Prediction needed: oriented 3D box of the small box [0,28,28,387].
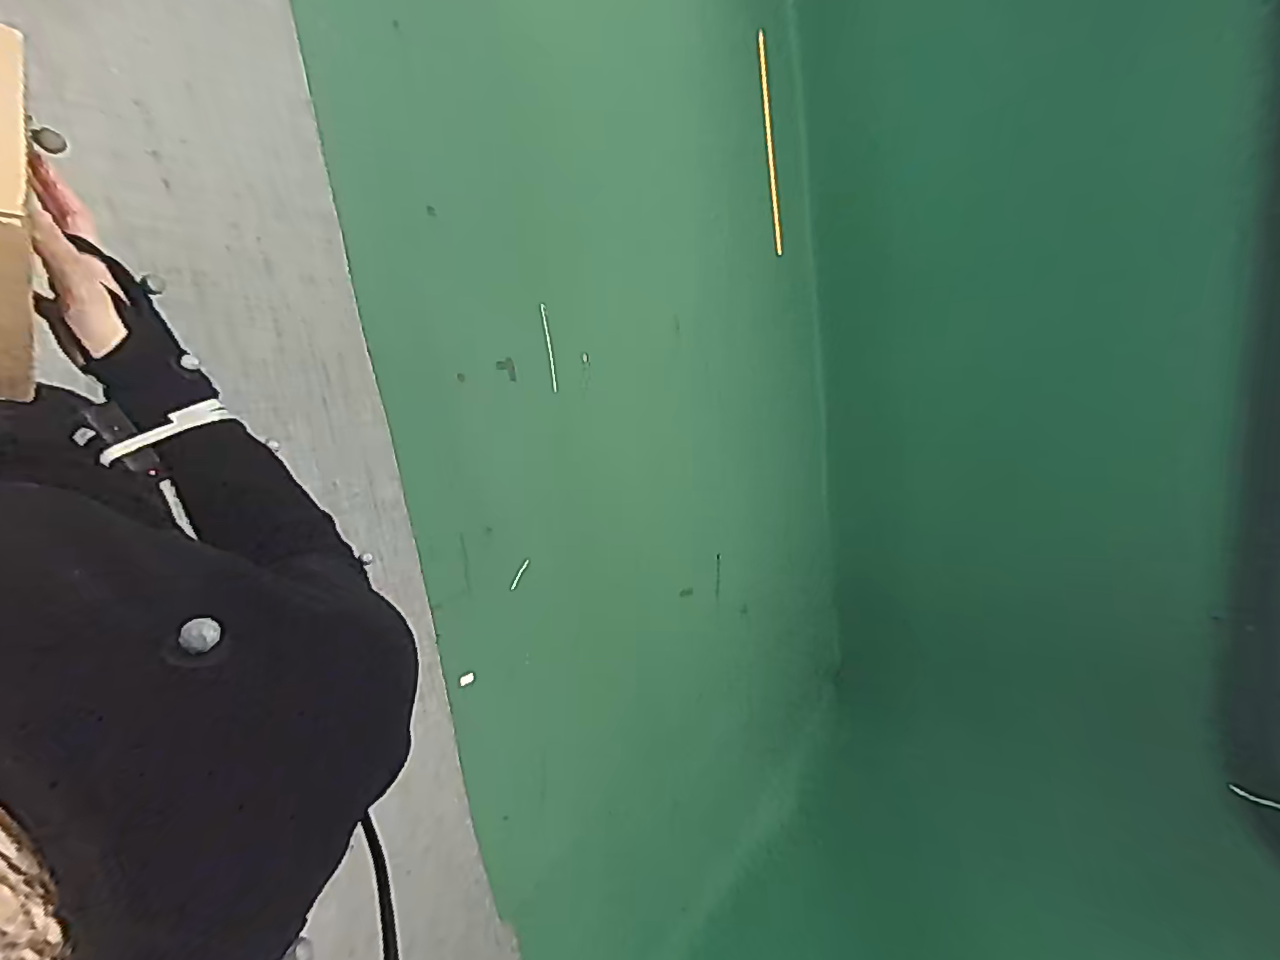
[{"bbox_3d":[-0.477,-0.176,0.306,0.168,0.176,0.179,1,60,-50],"label":"small box"}]
